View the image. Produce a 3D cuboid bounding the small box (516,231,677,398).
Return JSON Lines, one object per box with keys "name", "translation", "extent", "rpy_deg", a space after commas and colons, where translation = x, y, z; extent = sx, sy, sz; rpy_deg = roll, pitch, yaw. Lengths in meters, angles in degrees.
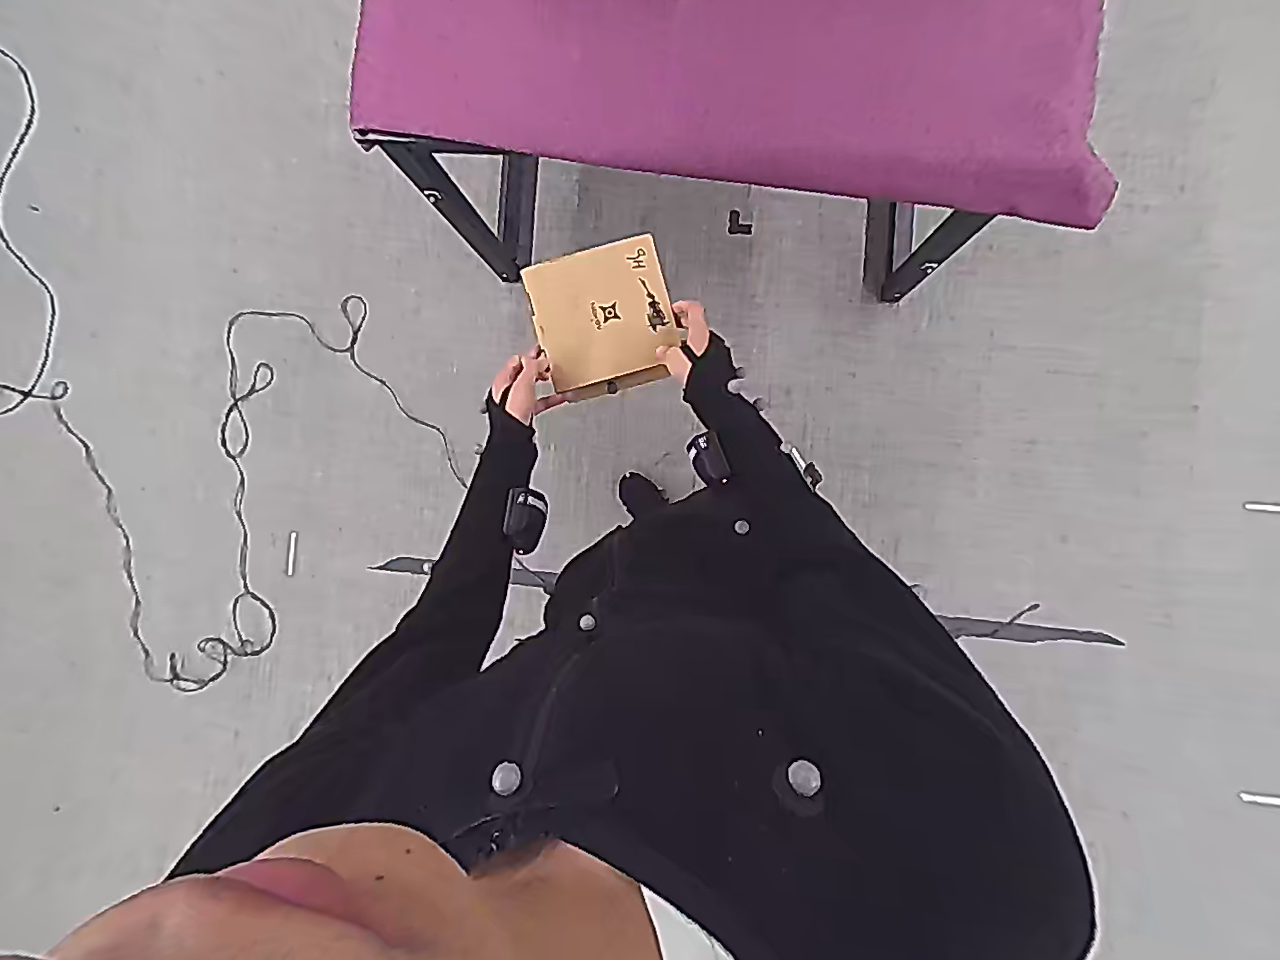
{"name": "small box", "translation": [-0.055, -0.221, 0.771], "extent": [0.179, 0.176, 0.168], "rpy_deg": [-16, 94, 0]}
